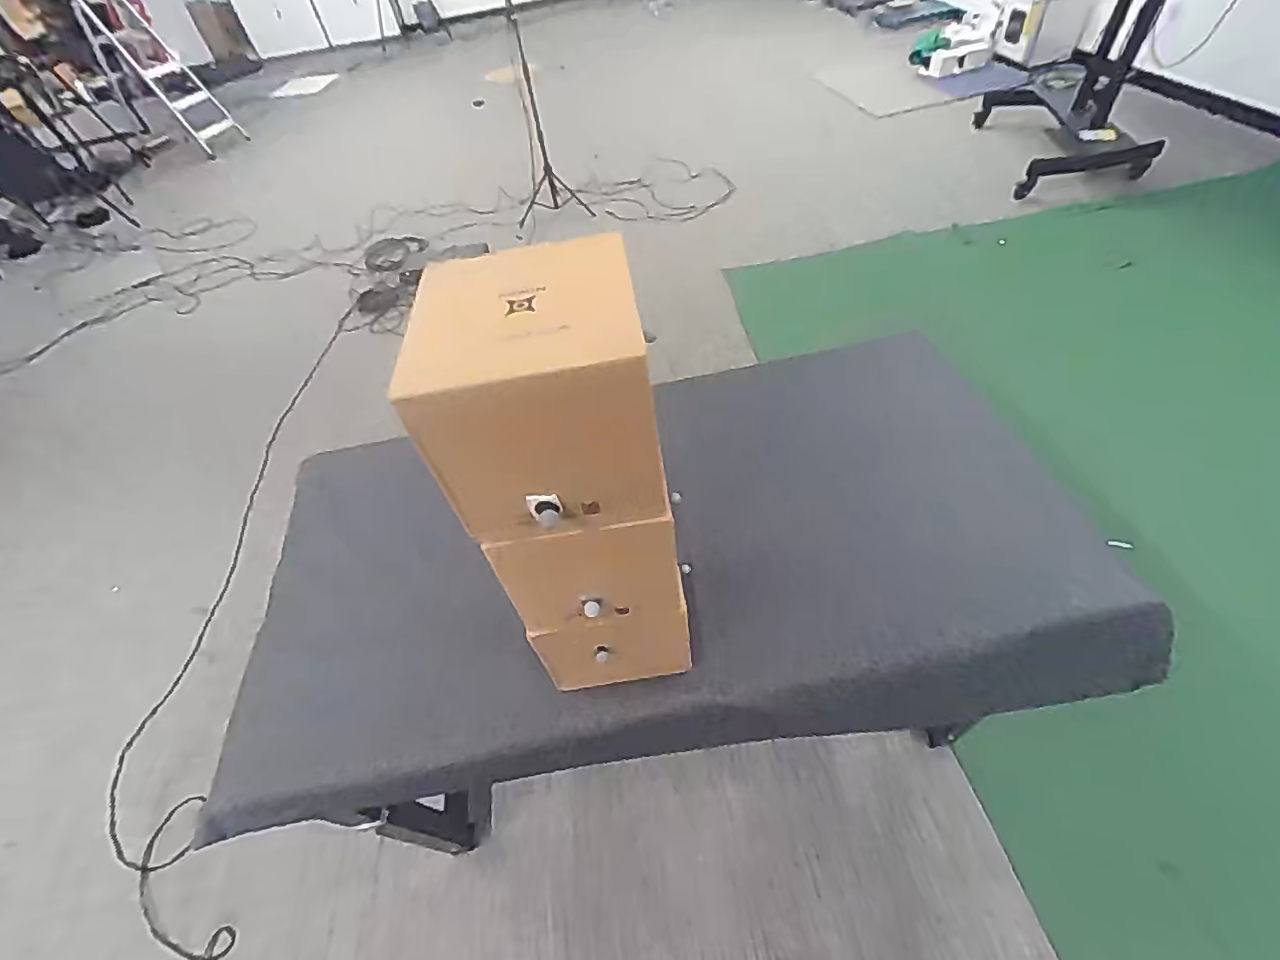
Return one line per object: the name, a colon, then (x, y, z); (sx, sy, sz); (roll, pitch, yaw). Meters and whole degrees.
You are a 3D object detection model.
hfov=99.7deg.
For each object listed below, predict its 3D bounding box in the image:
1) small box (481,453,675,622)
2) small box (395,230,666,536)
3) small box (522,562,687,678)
small box: (-0.054, 0.027, 0.572); (0.168, 0.176, 0.179); (-7, 50, 1)
small box: (-0.074, -0.078, 0.452); (0.168, 0.176, 0.179); (-9, 50, 1)
small box: (-0.040, 0.138, 0.693); (0.179, 0.176, 0.168); (-8, 49, 1)
